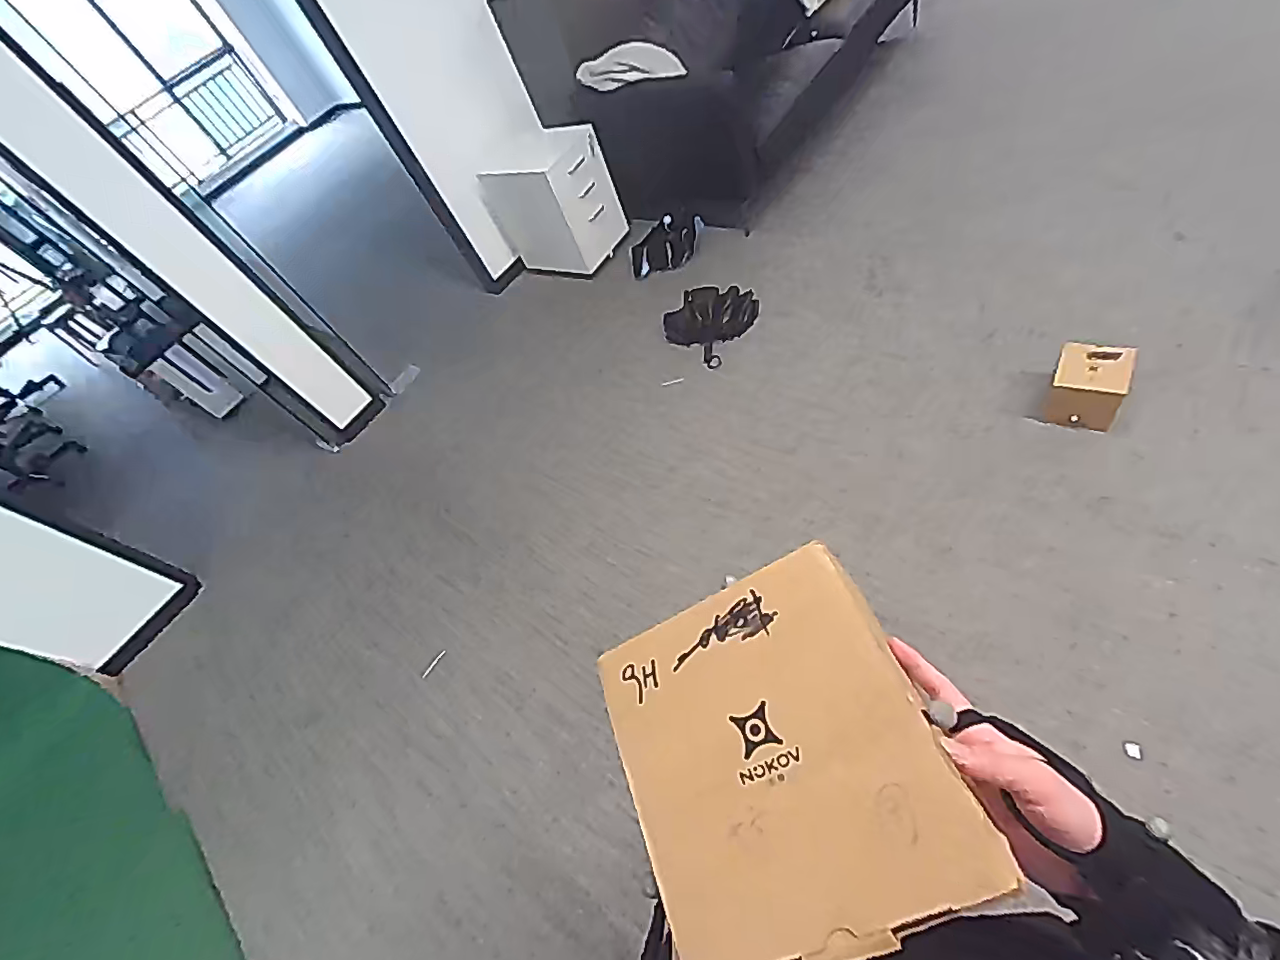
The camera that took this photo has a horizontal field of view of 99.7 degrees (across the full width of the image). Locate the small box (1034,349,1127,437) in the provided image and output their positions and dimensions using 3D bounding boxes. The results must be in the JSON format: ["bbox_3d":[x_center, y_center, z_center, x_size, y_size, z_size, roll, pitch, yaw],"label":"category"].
[{"bbox_3d":[1.290,-0.257,1.592,0.168,0.176,0.179,17,64,32],"label":"small box"}]

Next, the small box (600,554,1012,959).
[{"bbox_3d":[0.105,0.178,0.358,0.168,0.176,0.179,-33,56,14],"label":"small box"}]
